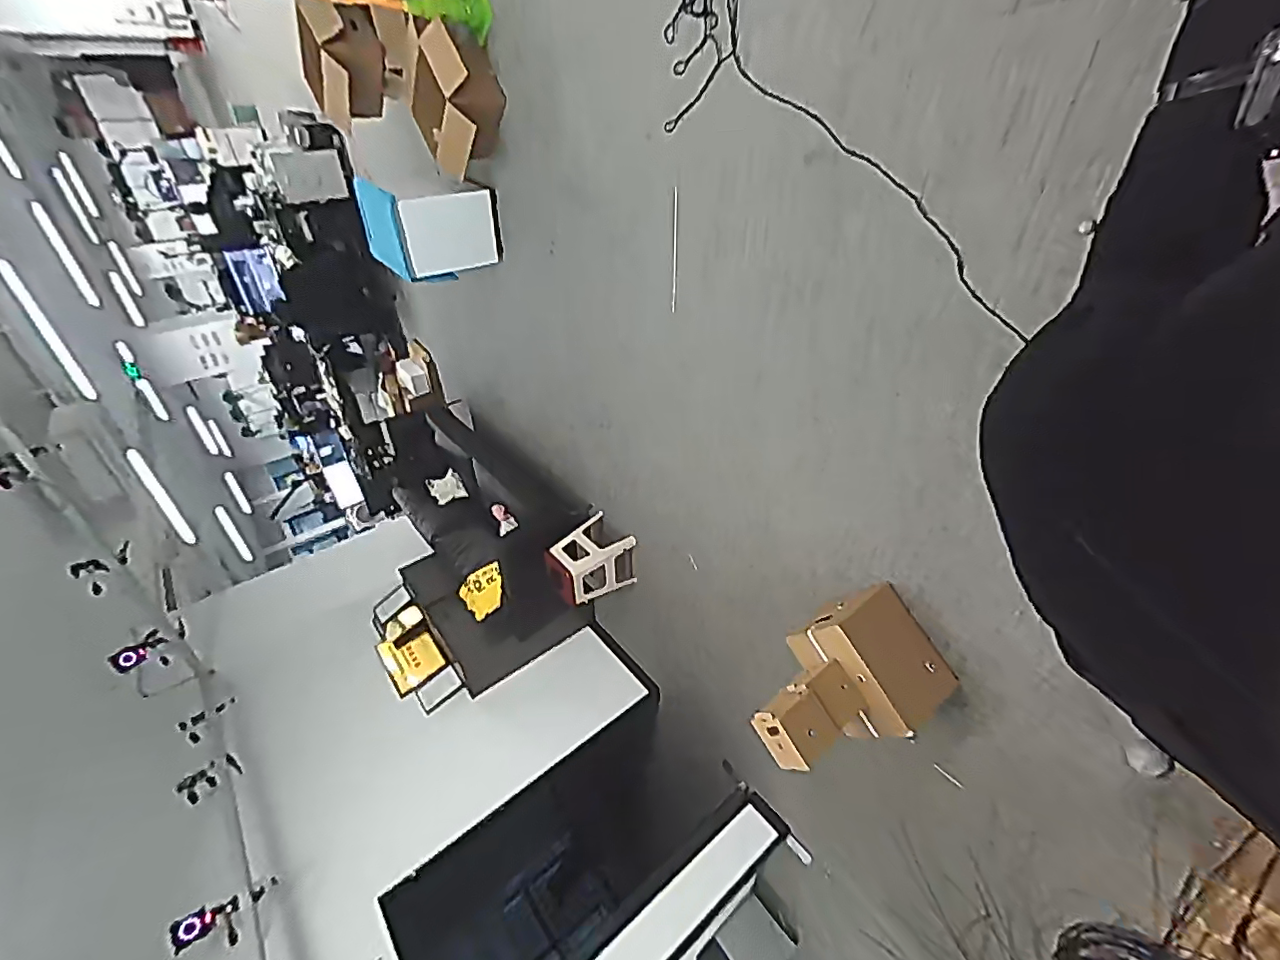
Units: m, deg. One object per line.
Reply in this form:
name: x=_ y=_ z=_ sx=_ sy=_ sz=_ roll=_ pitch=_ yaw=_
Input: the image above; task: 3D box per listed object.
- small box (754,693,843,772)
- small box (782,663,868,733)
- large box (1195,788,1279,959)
small box: x=0.510 y=0.804 z=1.737 sx=0.179 sy=0.176 sz=0.168 roll=57 pitch=149 yaw=10
small box: x=0.627 y=0.741 z=1.835 sx=0.179 sy=0.176 sz=0.168 roll=56 pitch=150 yaw=14
large box: x=1.514 y=0.969 z=1.143 sx=0.408 sy=0.320 sz=0.320 roll=21 pitch=130 yaw=48
